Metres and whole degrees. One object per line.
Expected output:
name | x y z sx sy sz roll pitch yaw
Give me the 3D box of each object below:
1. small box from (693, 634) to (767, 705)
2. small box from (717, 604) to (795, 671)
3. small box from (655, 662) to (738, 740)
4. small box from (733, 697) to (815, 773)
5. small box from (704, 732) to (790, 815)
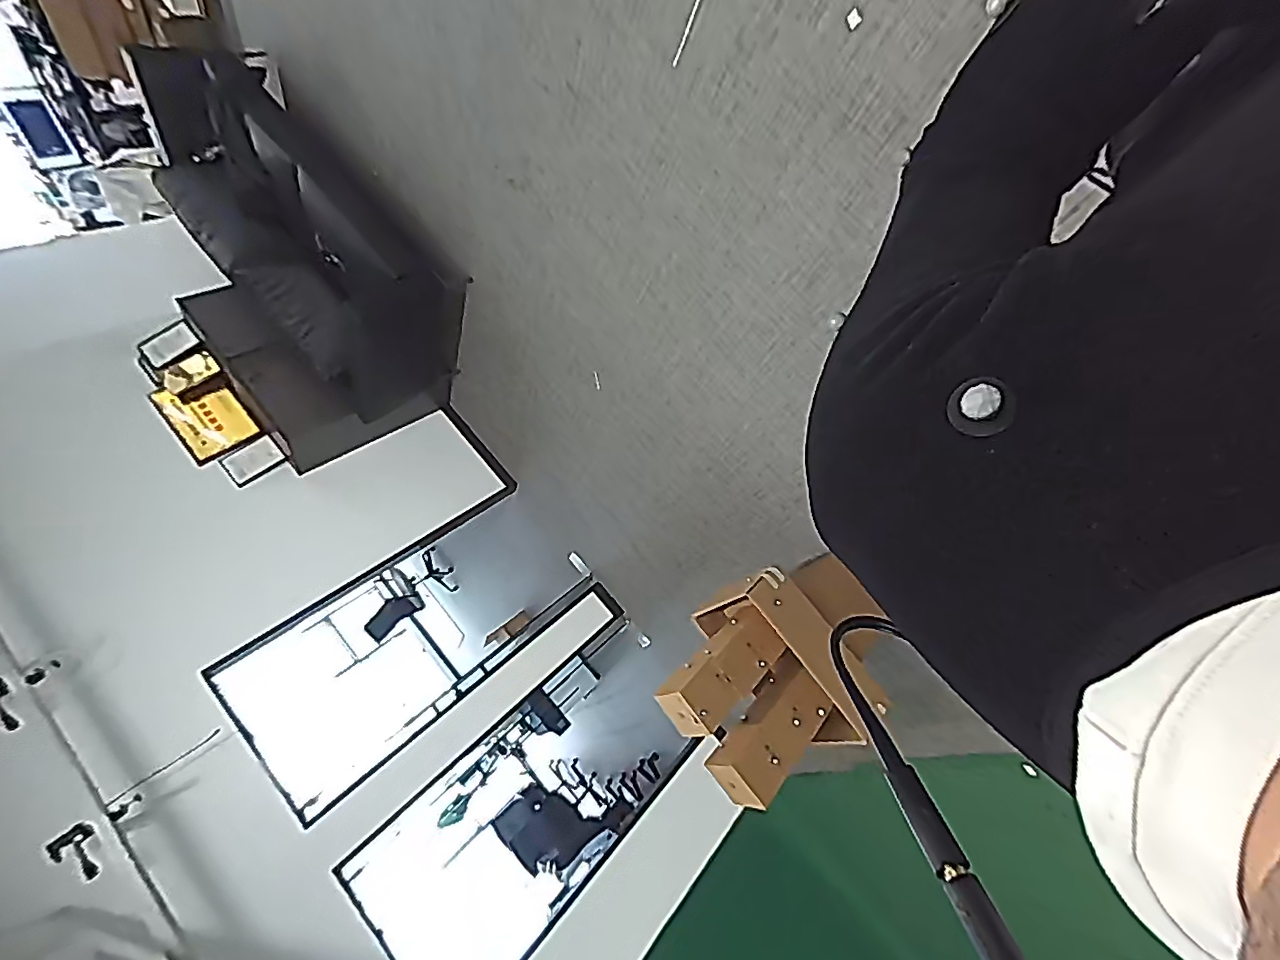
small box | 0.306 0.645 1.843 0.168 0.176 0.179 53 145 4
small box | 0.417 0.569 1.937 0.168 0.176 0.179 53 144 4
small box | 0.186 0.716 1.755 0.168 0.176 0.179 52 145 4
small box | 0.458 0.862 1.836 0.168 0.176 0.179 51 145 5
small box | 0.347 0.937 1.743 0.168 0.176 0.179 51 145 4
